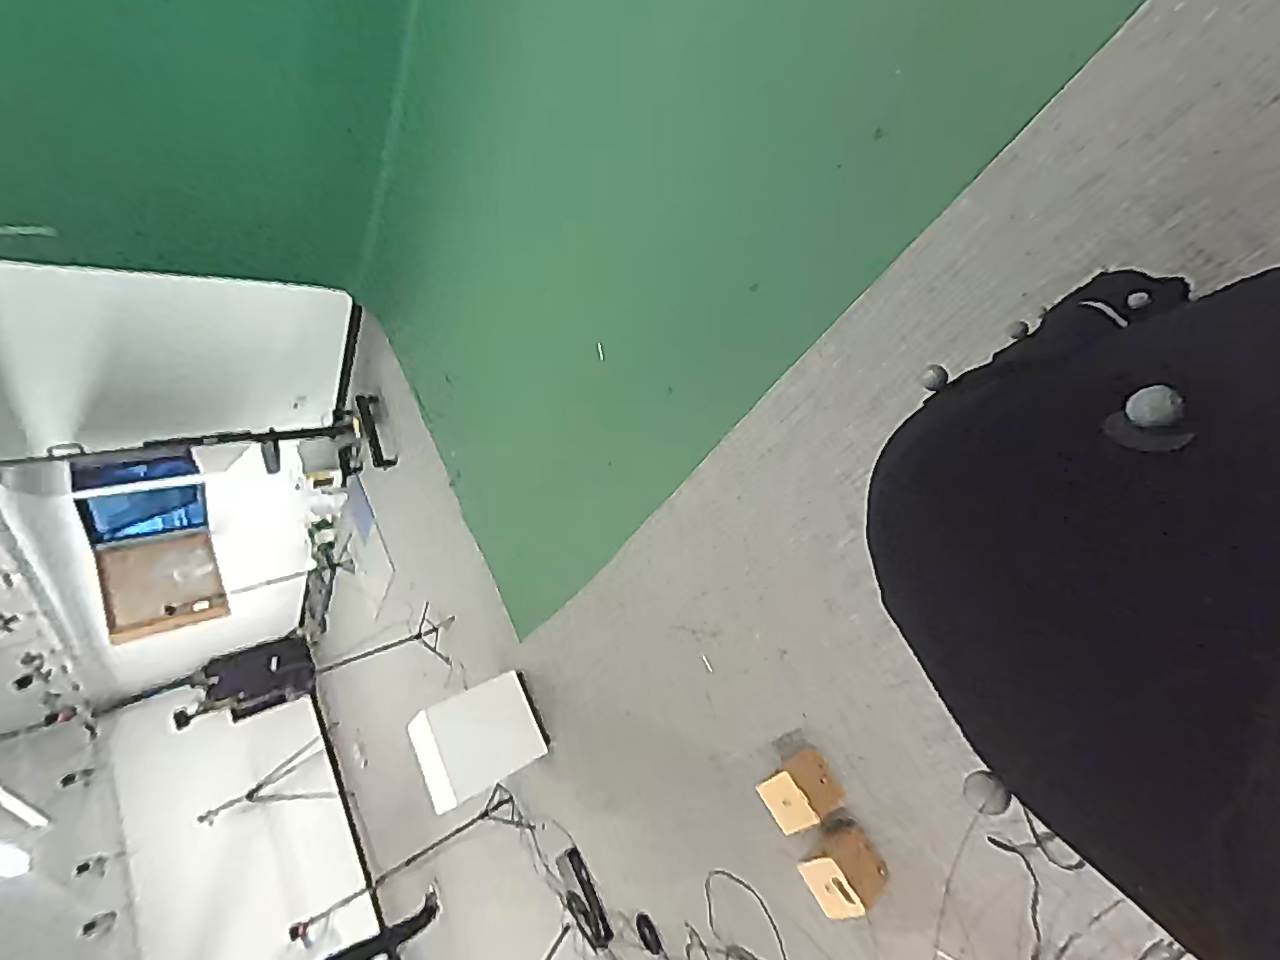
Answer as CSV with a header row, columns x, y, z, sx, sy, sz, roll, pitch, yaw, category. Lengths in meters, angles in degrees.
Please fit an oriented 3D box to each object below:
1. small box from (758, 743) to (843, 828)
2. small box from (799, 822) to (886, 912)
x,y,z,sx,sy,sz,roll,pitch,yaw,category
0.536,1.014,1.800,0.168,0.176,0.179,54,132,23,small box
0.653,1.228,1.725,0.168,0.176,0.179,56,134,21,small box
